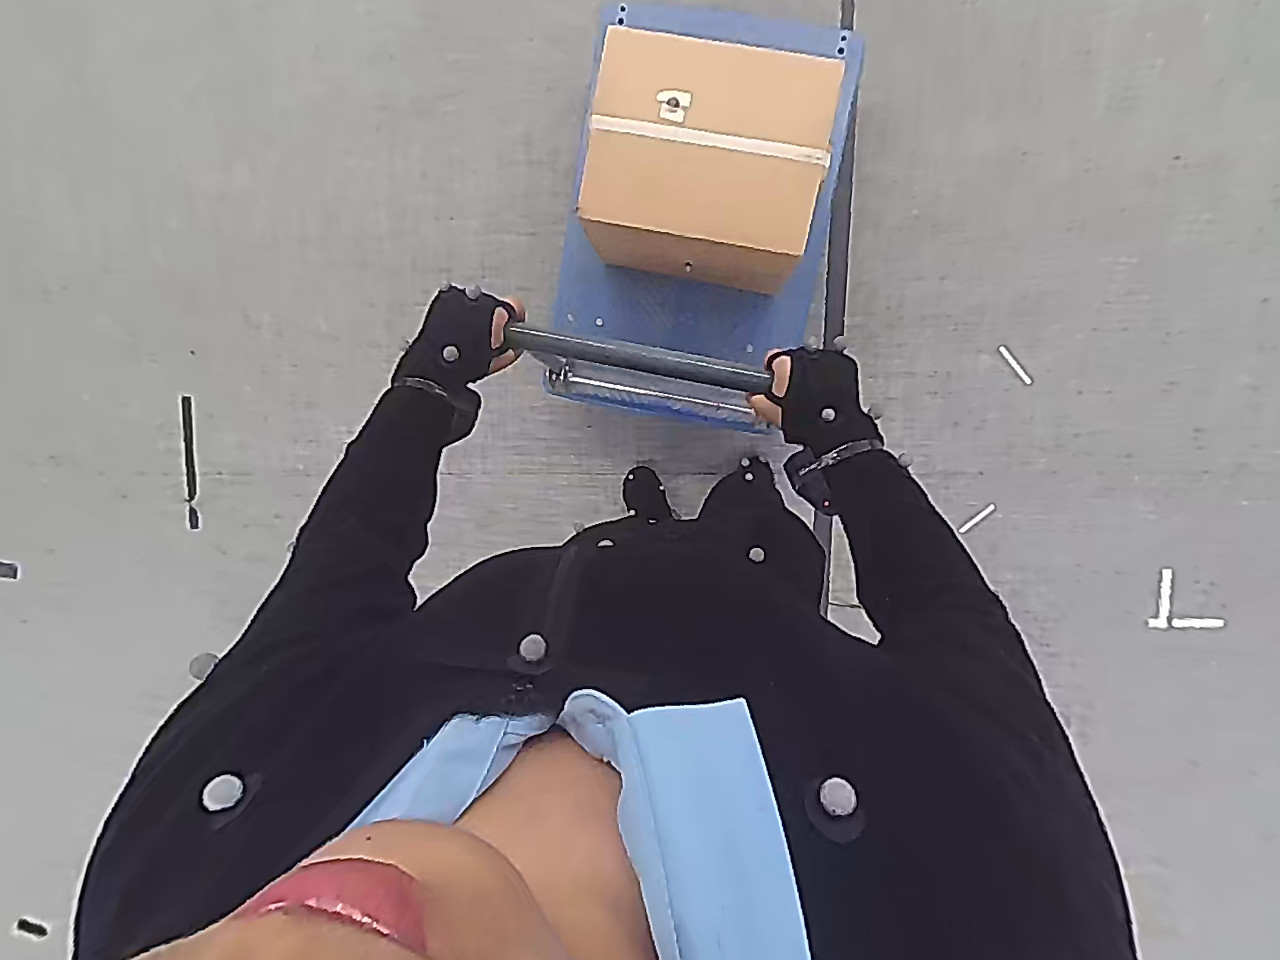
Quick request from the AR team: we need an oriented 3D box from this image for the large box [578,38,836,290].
[{"bbox_3d":[0.127,-0.594,1.080,0.408,0.320,0.320,12,97,5],"label":"large box"}]
